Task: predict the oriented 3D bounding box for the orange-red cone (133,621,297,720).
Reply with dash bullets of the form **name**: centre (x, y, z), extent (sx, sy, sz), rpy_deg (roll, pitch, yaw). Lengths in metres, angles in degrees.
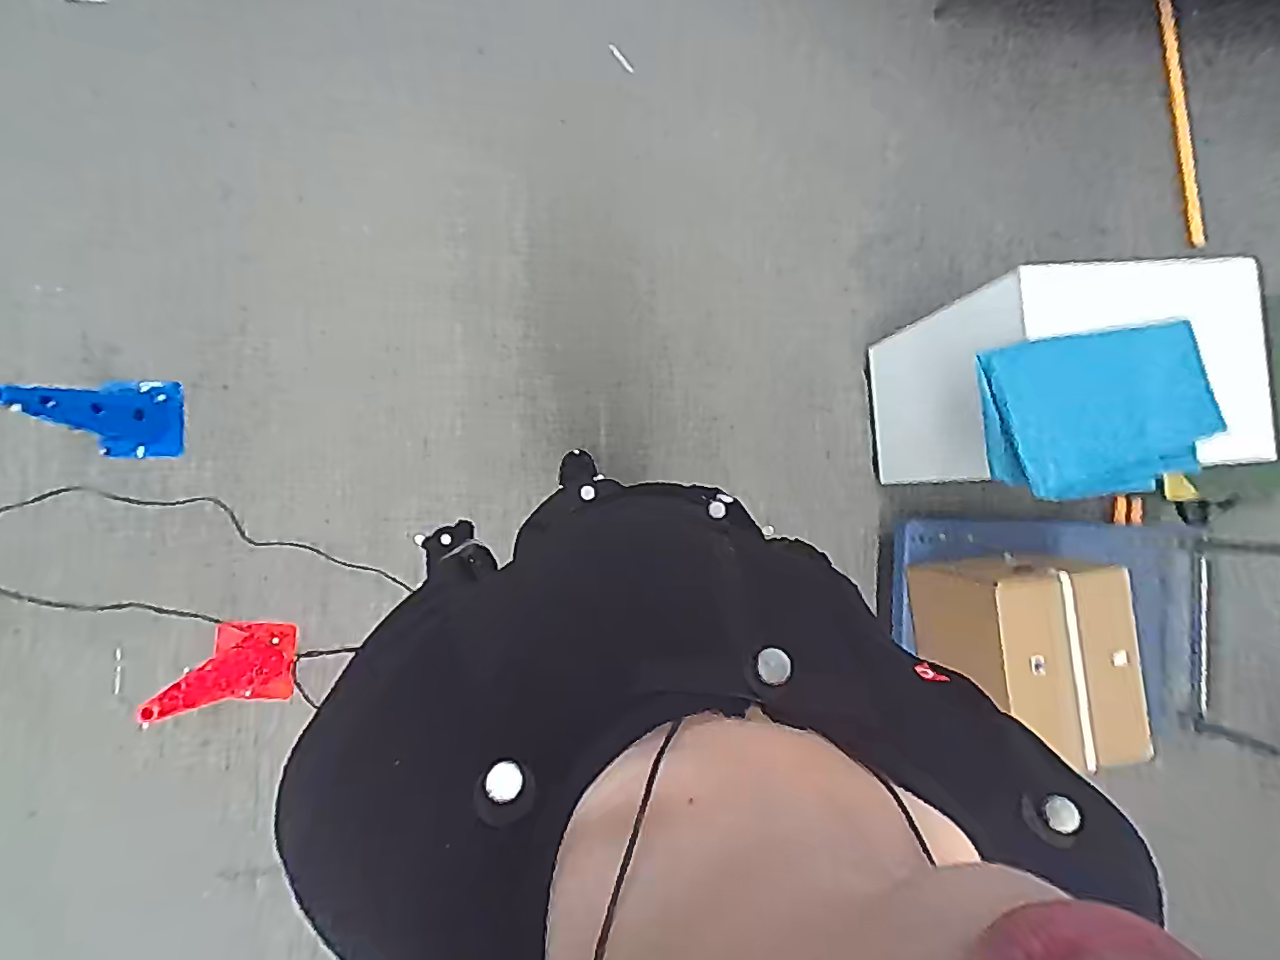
- **orange-red cone**: centre (-0.986, 0.460, 1.227), extent (0.199, 0.360, 0.198), rpy_deg (5, 87, -4)
